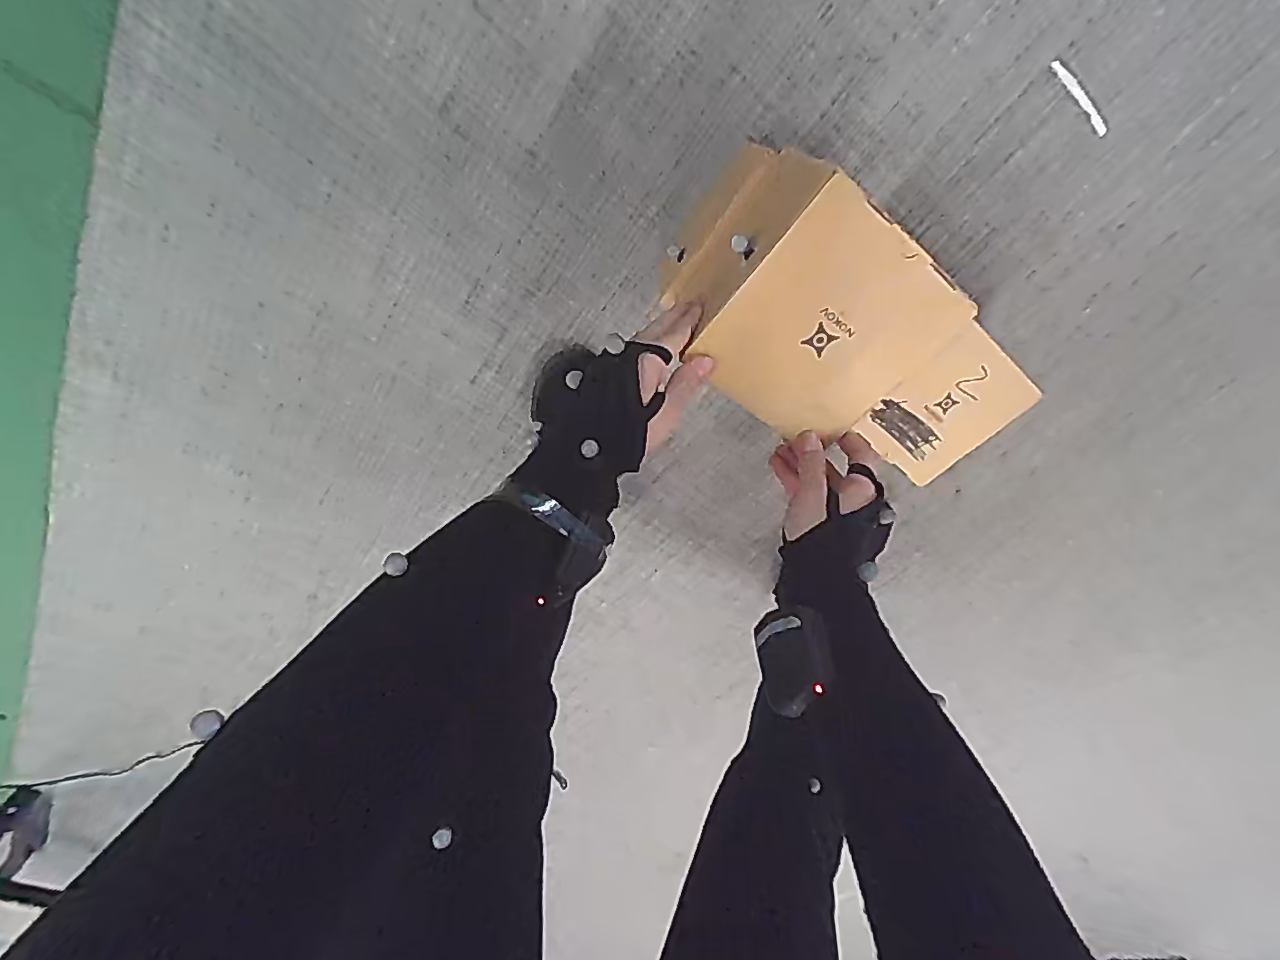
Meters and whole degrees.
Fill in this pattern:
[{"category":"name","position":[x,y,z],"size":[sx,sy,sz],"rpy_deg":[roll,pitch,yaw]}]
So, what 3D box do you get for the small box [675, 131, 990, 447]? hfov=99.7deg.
[{"category":"small box","position":[0.148,-0.169,0.476],"size":[0.168,0.176,0.179],"rpy_deg":[33,121,-20]}]
